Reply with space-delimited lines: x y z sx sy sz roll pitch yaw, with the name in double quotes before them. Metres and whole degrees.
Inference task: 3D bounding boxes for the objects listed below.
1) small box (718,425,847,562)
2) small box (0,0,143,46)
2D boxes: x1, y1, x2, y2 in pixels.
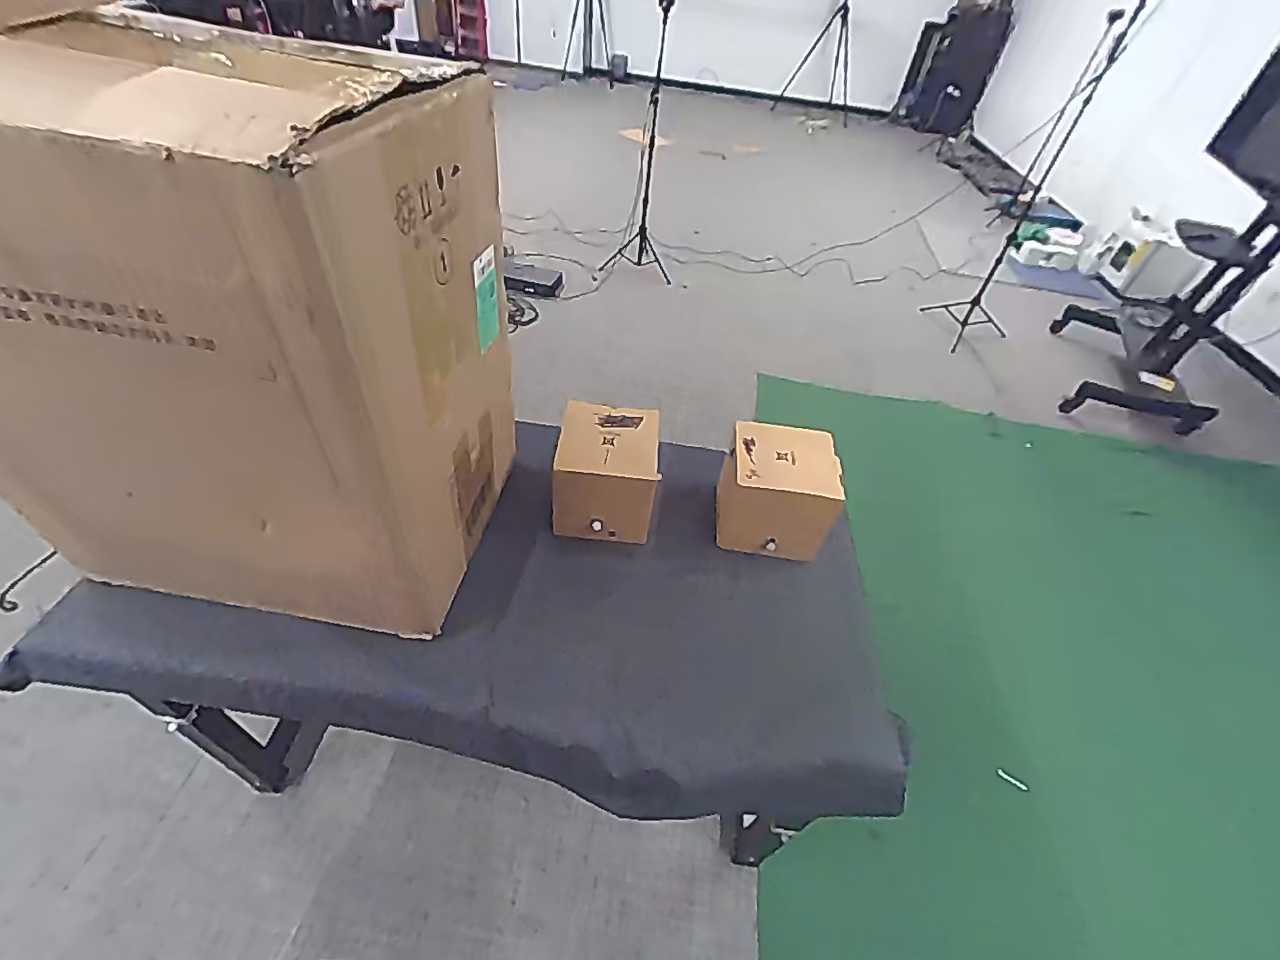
"small box" 0.246 0.028 0.972 0.179 0.176 0.168 9 45 0
"small box" -0.576 -0.472 0.430 0.179 0.176 0.168 7 50 -3
